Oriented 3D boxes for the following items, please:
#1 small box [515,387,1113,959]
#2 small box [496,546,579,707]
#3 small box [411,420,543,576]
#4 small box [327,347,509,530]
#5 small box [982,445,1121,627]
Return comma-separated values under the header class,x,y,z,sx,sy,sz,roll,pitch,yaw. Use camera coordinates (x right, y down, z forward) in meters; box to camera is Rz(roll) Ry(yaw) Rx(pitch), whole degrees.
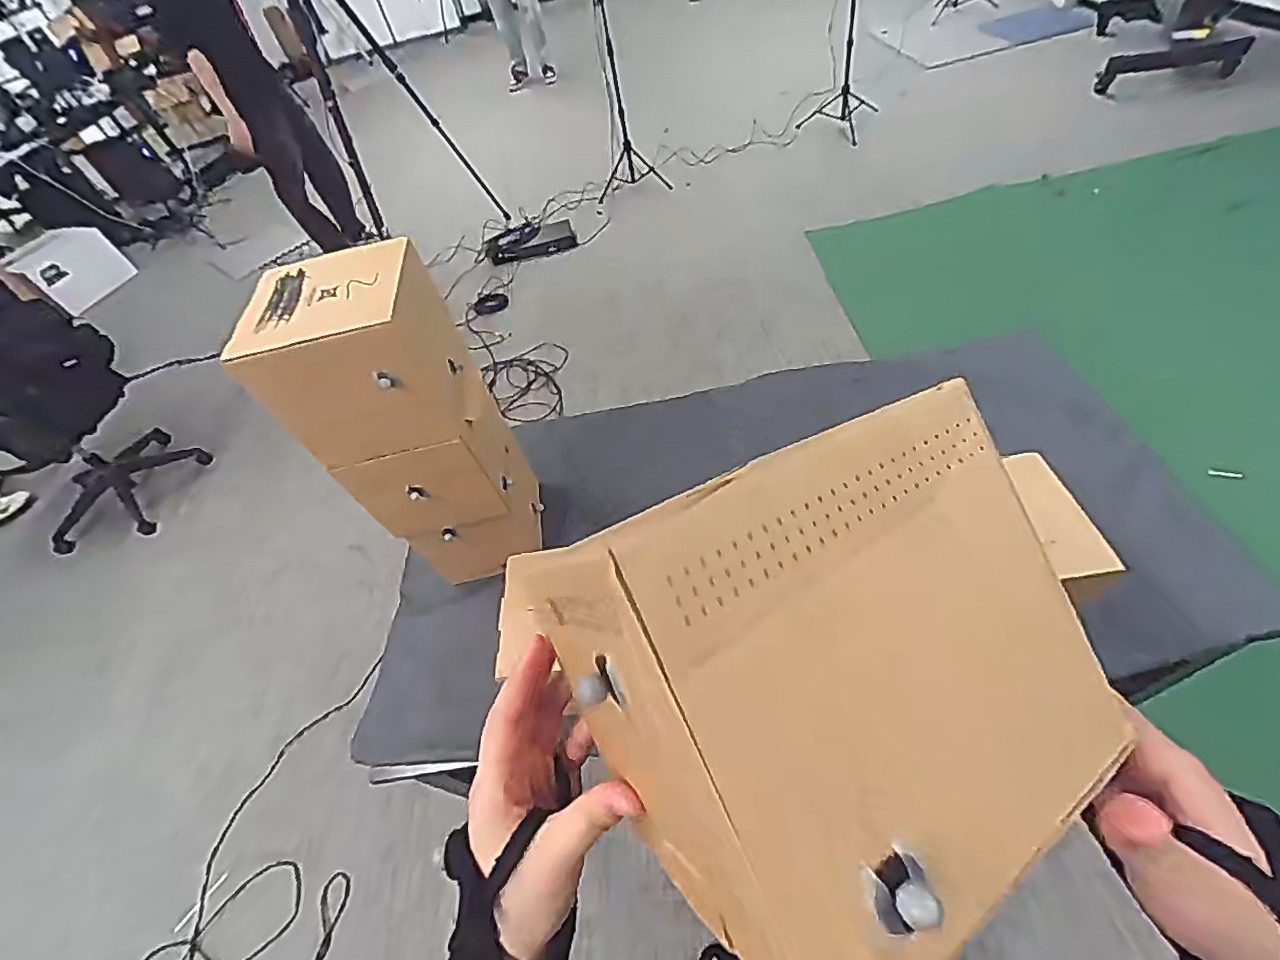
class,x,y,z,sx,sy,sz,roll,pitch,yaw
small box,0.064,0.073,0.260,0.179,0.168,0.176,-25,91,-22
small box,-0.072,0.193,0.727,0.179,0.176,0.168,-9,51,7
small box,-0.266,0.033,0.898,0.168,0.176,0.179,-14,52,2
small box,-0.293,-0.052,0.758,0.179,0.176,0.168,-14,53,3
small box,0.436,0.085,0.689,0.168,0.176,0.179,-11,51,6
